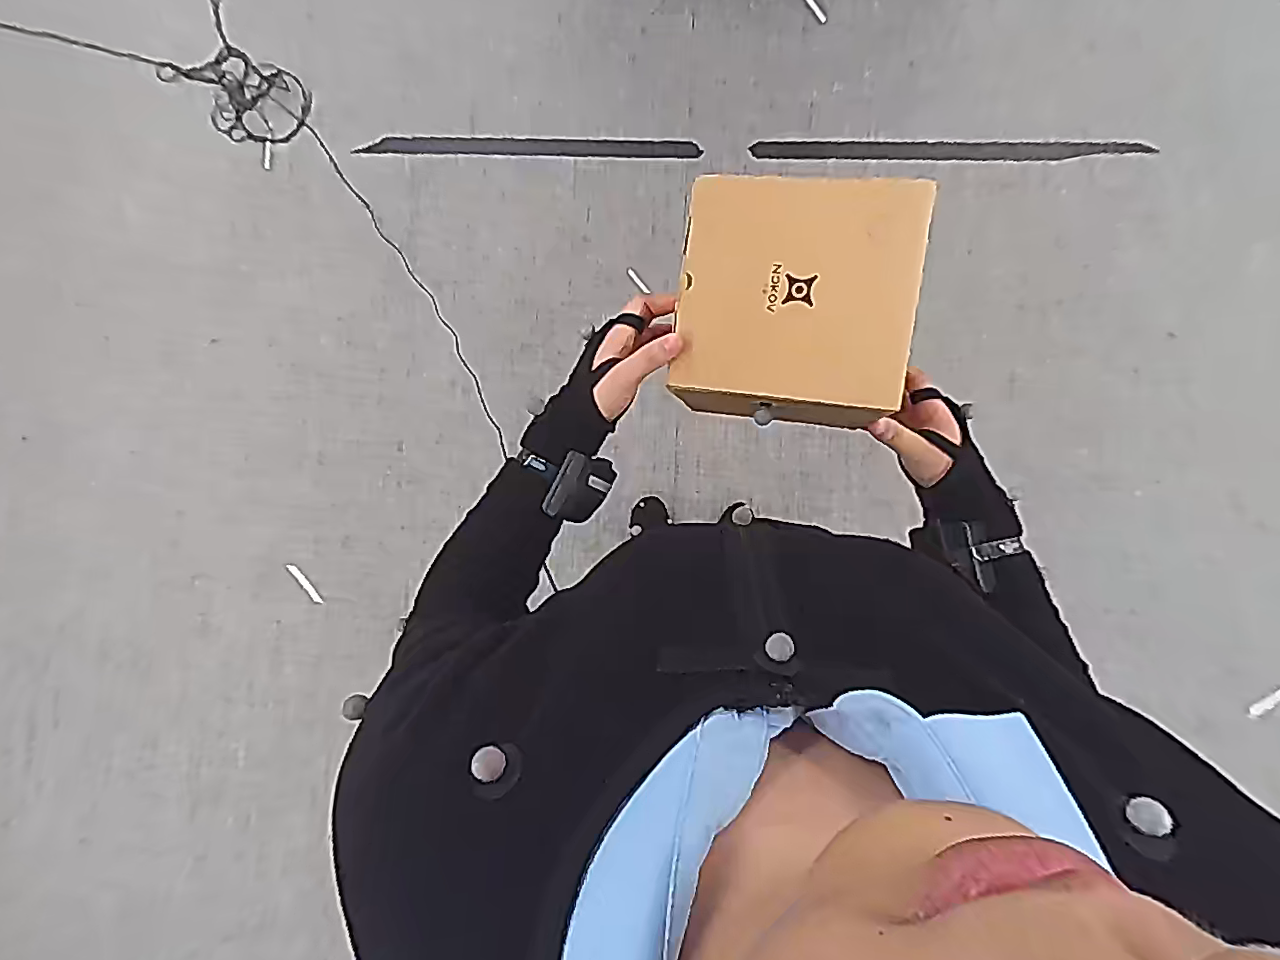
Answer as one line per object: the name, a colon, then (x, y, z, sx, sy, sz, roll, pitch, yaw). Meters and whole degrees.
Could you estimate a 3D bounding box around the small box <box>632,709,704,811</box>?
small box: (0.075, 0.722, 1.415, 0.168, 0.176, 0.179, 5, 90, 5)

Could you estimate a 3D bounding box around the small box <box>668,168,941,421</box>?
small box: (0.134, -0.147, 0.477, 0.179, 0.176, 0.168, 9, 93, 13)
